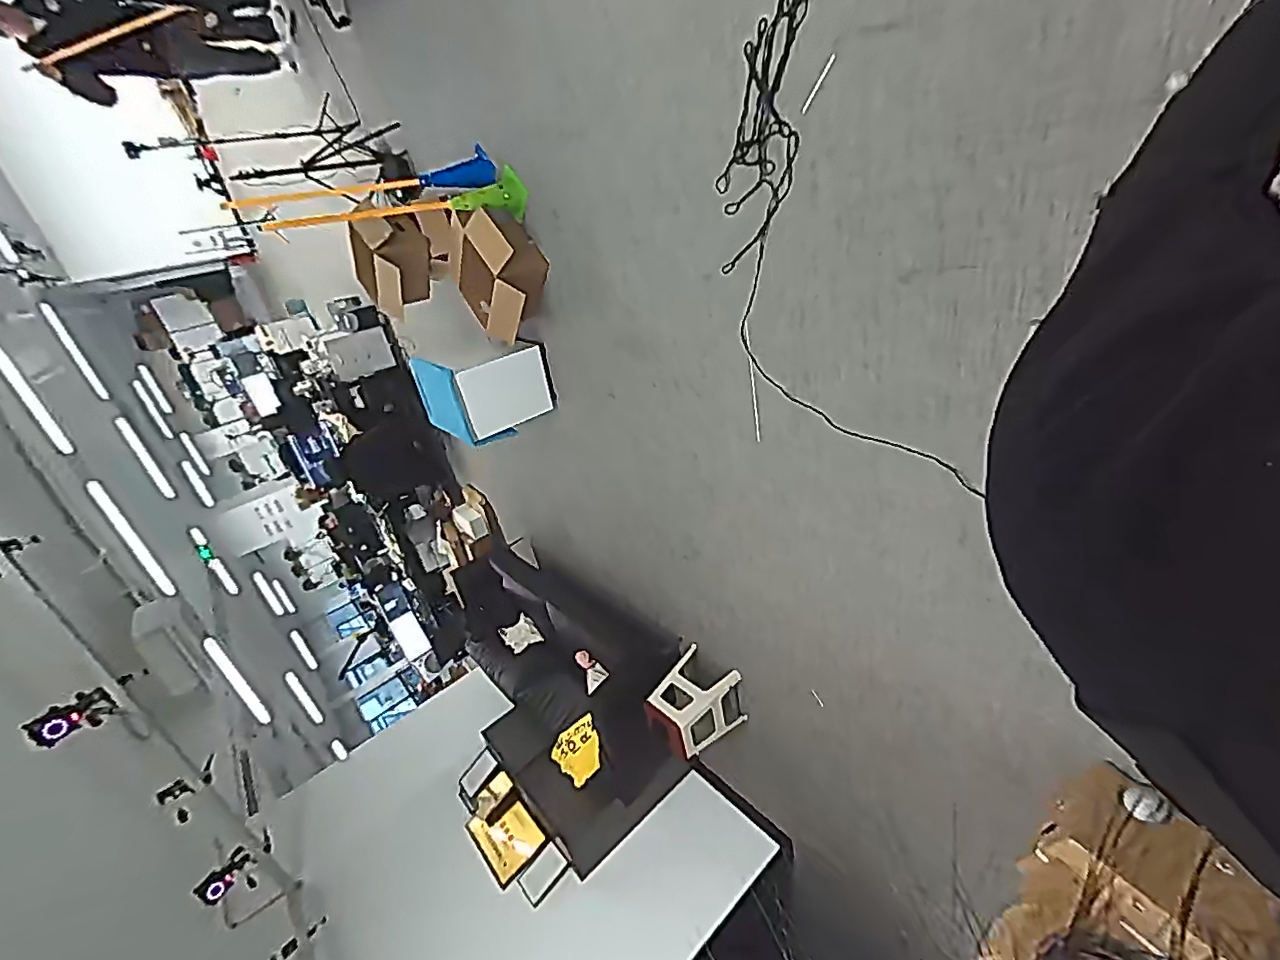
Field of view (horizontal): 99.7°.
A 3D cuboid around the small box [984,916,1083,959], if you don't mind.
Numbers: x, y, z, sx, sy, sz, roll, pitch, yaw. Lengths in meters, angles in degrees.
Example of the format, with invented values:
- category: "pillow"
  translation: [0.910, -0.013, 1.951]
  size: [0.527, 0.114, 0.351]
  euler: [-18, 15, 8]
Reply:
- category: "small box"
  translation: [1.023, 1.270, 1.392]
  size: [0.179, 0.176, 0.168]
  euler: [39, 144, 32]

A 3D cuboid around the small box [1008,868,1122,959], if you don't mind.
- category: "small box"
  translation: [1.151, 1.206, 1.467]
  size: [0.168, 0.176, 0.179]
  euler: [38, 143, 33]
